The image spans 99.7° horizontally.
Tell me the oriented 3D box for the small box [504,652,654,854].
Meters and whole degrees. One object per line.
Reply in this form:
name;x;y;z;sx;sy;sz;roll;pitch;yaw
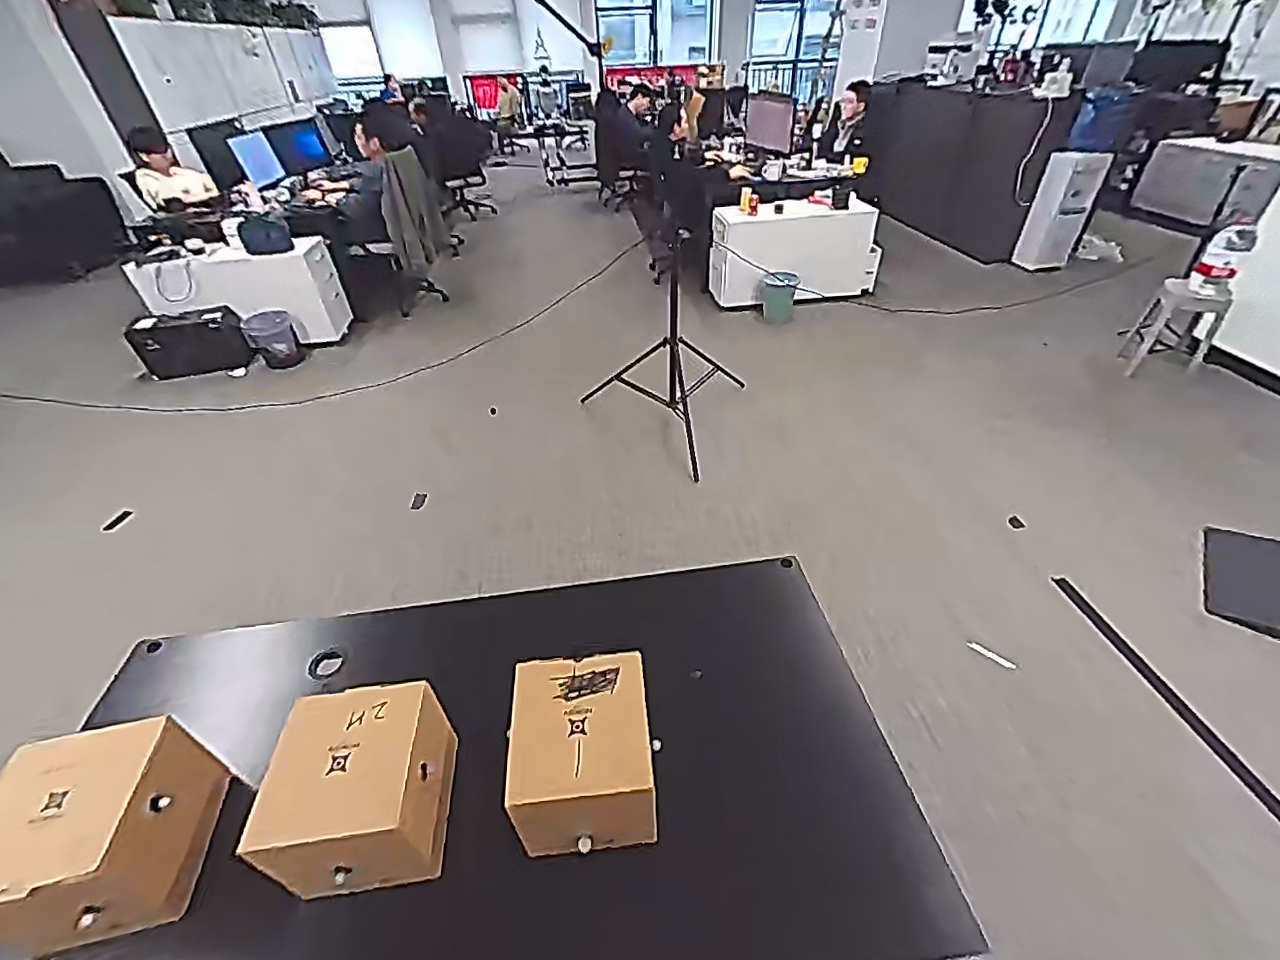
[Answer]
small box;-0.071;0.352;0.704;0.168;0.176;0.179;-5;40;-2

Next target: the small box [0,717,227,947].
small box;-0.647;0.424;0.651;0.168;0.176;0.179;-9;38;-10

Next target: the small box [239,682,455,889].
small box;-0.343;0.385;0.679;0.168;0.176;0.179;-6;39;-5
